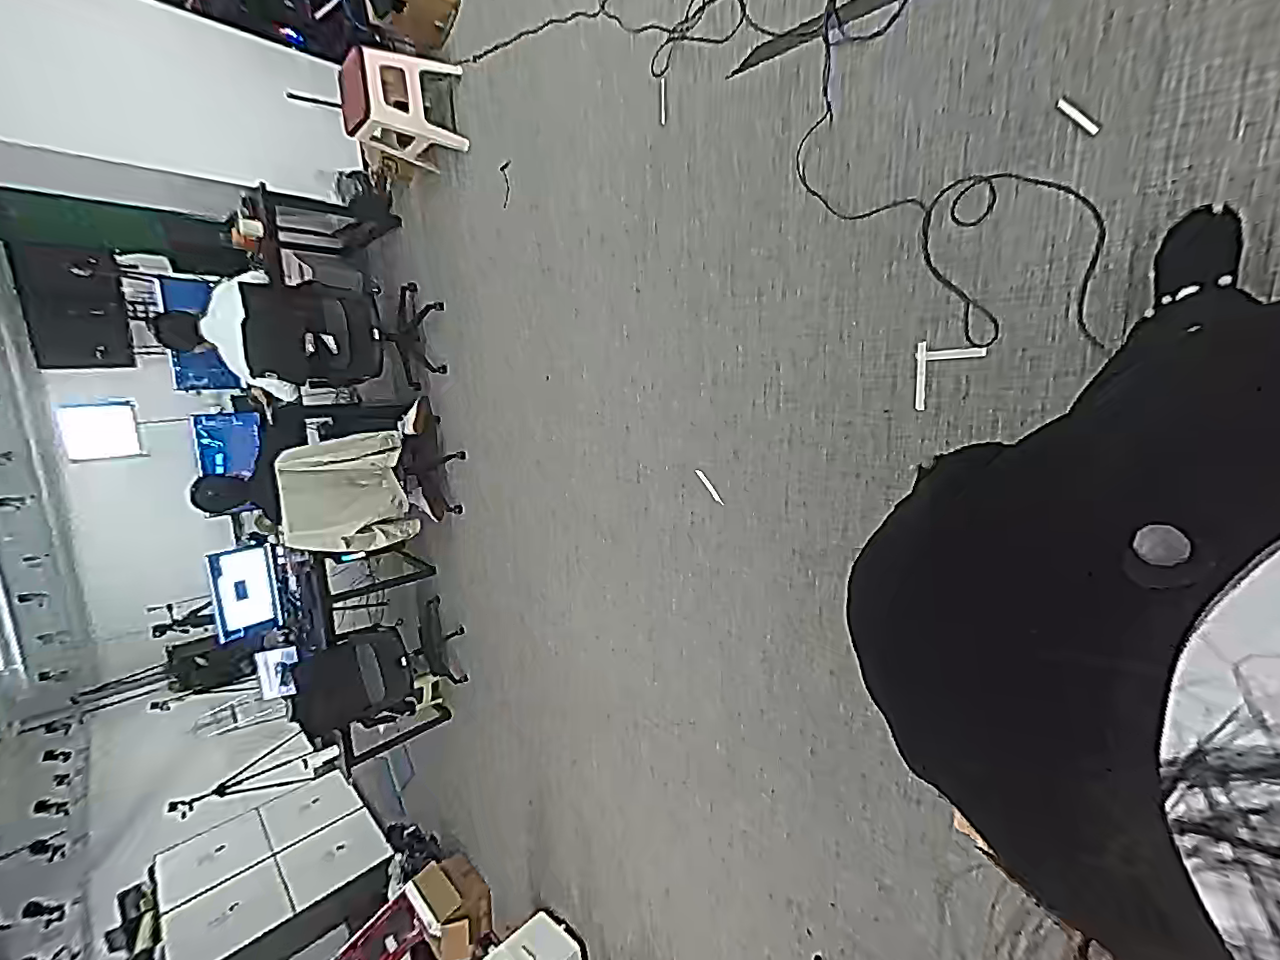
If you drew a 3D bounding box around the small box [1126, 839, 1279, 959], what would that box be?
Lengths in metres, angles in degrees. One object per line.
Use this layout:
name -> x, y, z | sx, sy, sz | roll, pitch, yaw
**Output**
small box -> 0.766, 0.645, 0.730 | 0.168, 0.176, 0.179 | 5, 101, 44
